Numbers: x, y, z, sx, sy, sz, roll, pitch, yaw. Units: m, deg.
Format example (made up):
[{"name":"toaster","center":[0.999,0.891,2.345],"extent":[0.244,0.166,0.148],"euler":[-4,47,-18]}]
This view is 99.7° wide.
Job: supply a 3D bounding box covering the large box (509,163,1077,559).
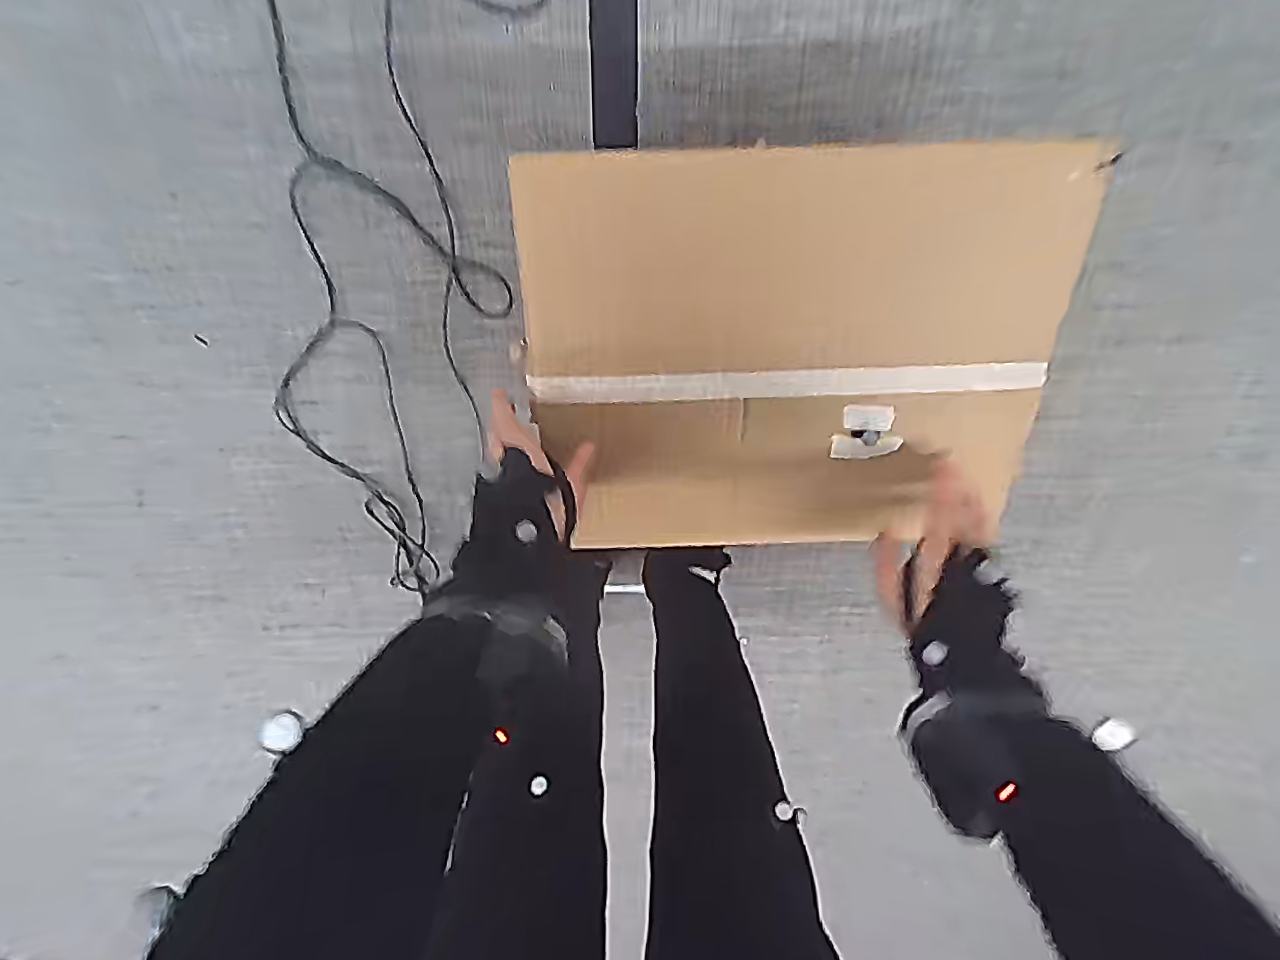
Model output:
[{"name":"large box","center":[0.107,-0.138,0.572],"extent":[0.408,0.320,0.320],"euler":[-2,118,-1]}]
